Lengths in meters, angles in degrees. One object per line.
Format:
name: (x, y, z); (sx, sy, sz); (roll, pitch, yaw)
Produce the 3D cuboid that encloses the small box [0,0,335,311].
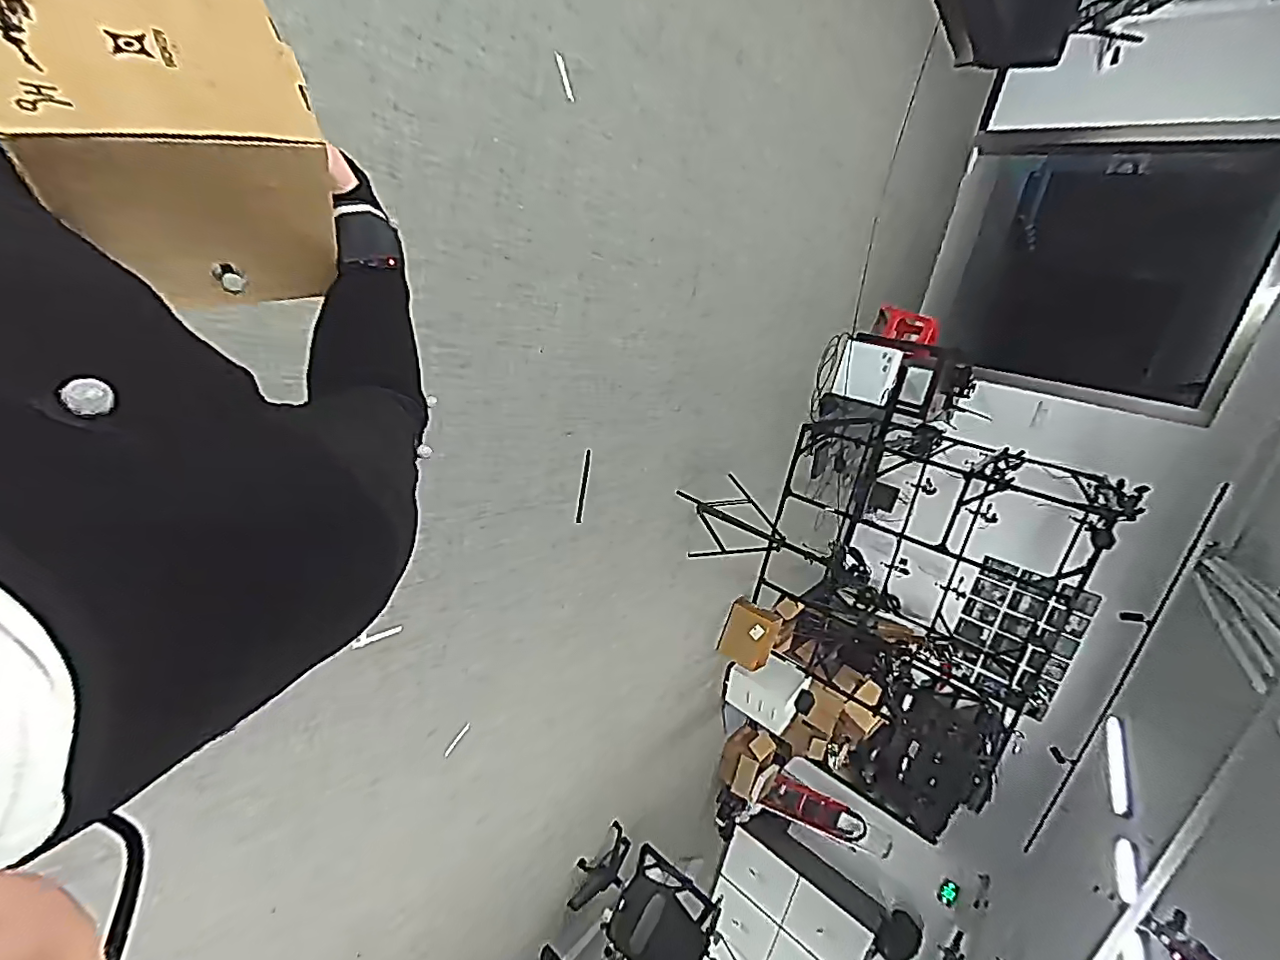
small box: (-0.377, -0.267, 0.458); (0.179, 0.168, 0.176); (-20, 166, -32)
